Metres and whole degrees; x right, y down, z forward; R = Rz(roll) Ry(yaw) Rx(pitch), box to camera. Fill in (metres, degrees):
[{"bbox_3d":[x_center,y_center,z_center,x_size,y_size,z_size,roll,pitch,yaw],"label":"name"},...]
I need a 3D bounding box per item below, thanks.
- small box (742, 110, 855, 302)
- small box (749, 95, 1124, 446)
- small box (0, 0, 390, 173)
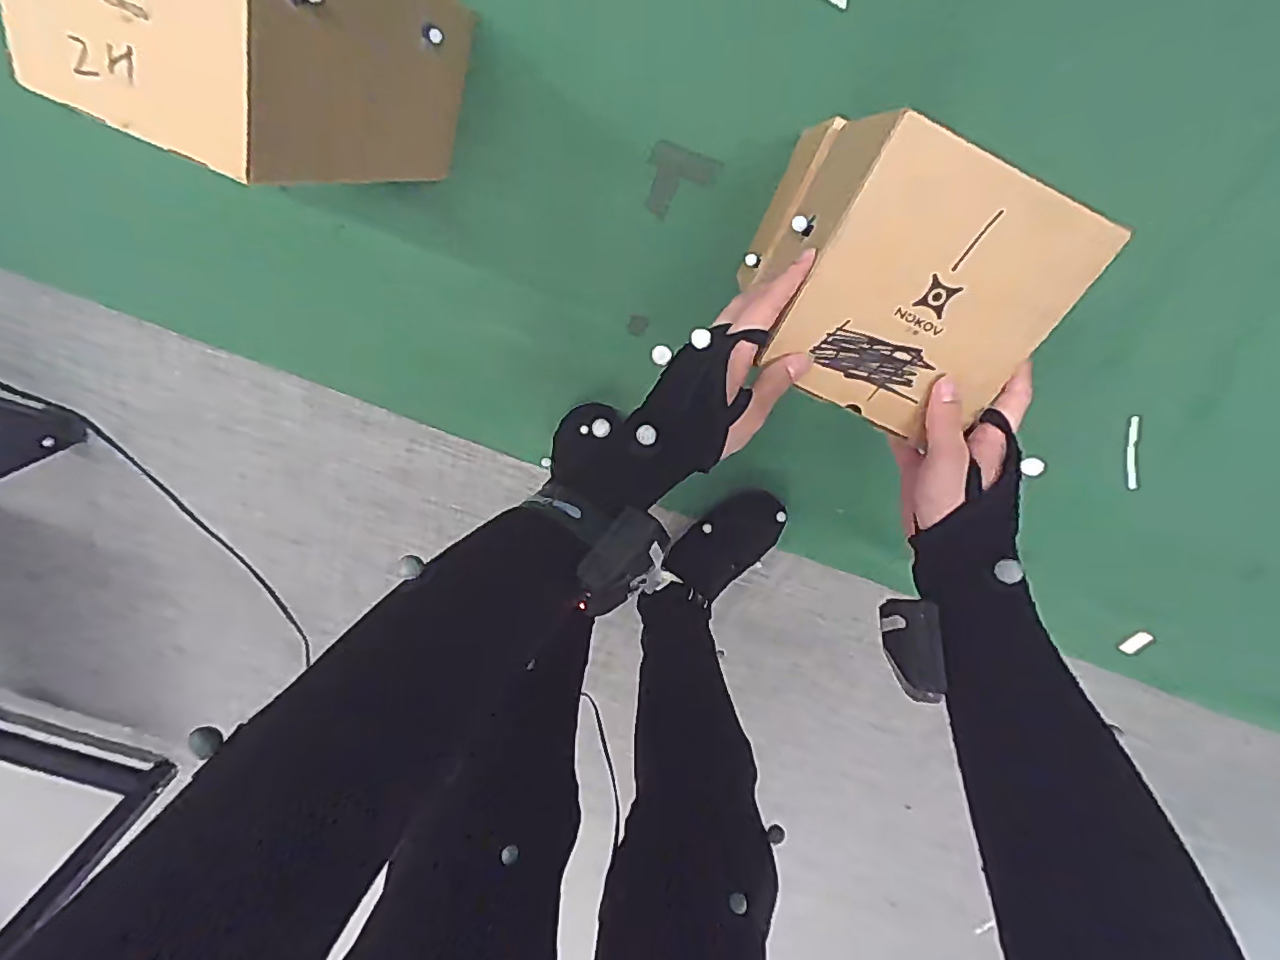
[{"bbox_3d":[0.218,-0.261,0.580,0.168,0.176,0.179,21,121,-6],"label":"small box"},{"bbox_3d":[0.198,-0.163,0.430,0.168,0.176,0.179,23,120,-8],"label":"small box"},{"bbox_3d":[-0.311,-0.356,0.402,0.168,0.176,0.179,23,120,-5],"label":"small box"}]
